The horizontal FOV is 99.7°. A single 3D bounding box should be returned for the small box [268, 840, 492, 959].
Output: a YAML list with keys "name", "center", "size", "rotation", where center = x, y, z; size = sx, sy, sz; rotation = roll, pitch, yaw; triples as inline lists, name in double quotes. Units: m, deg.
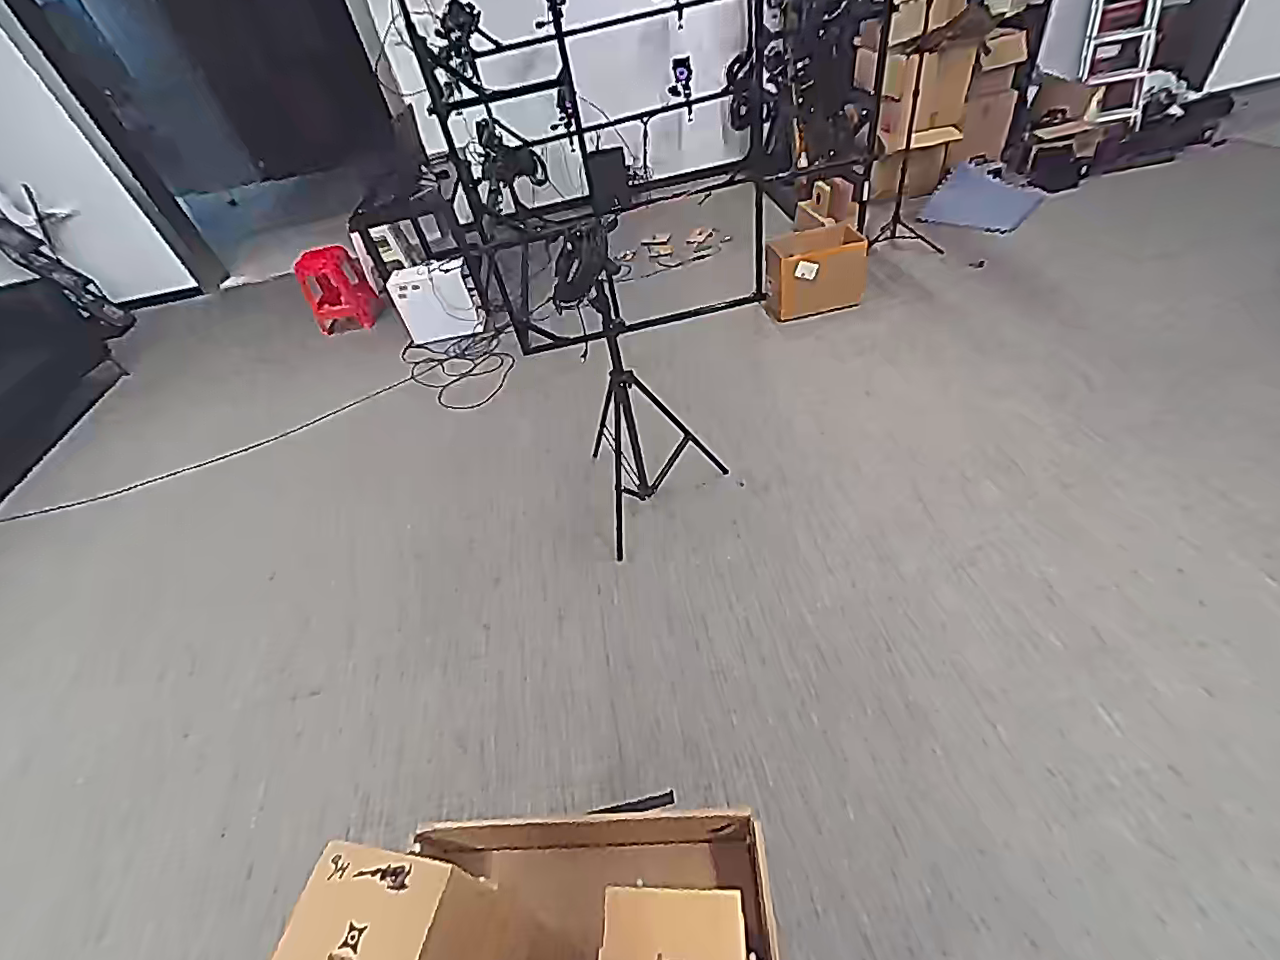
- name: "small box"
  center: [-0.291, 0.544, 0.613]
  size: [0.168, 0.176, 0.179]
  rotation: [2, 45, 14]

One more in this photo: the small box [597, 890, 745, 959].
- name: "small box"
  center: [0.046, 0.636, 0.681]
  size: [0.179, 0.176, 0.168]
  rotation: [-6, 43, 9]

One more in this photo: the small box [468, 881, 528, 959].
- name: "small box"
  center: [-0.266, 0.658, 0.729]
  size: [0.168, 0.176, 0.179]
  rotation: [-1, 43, 12]
